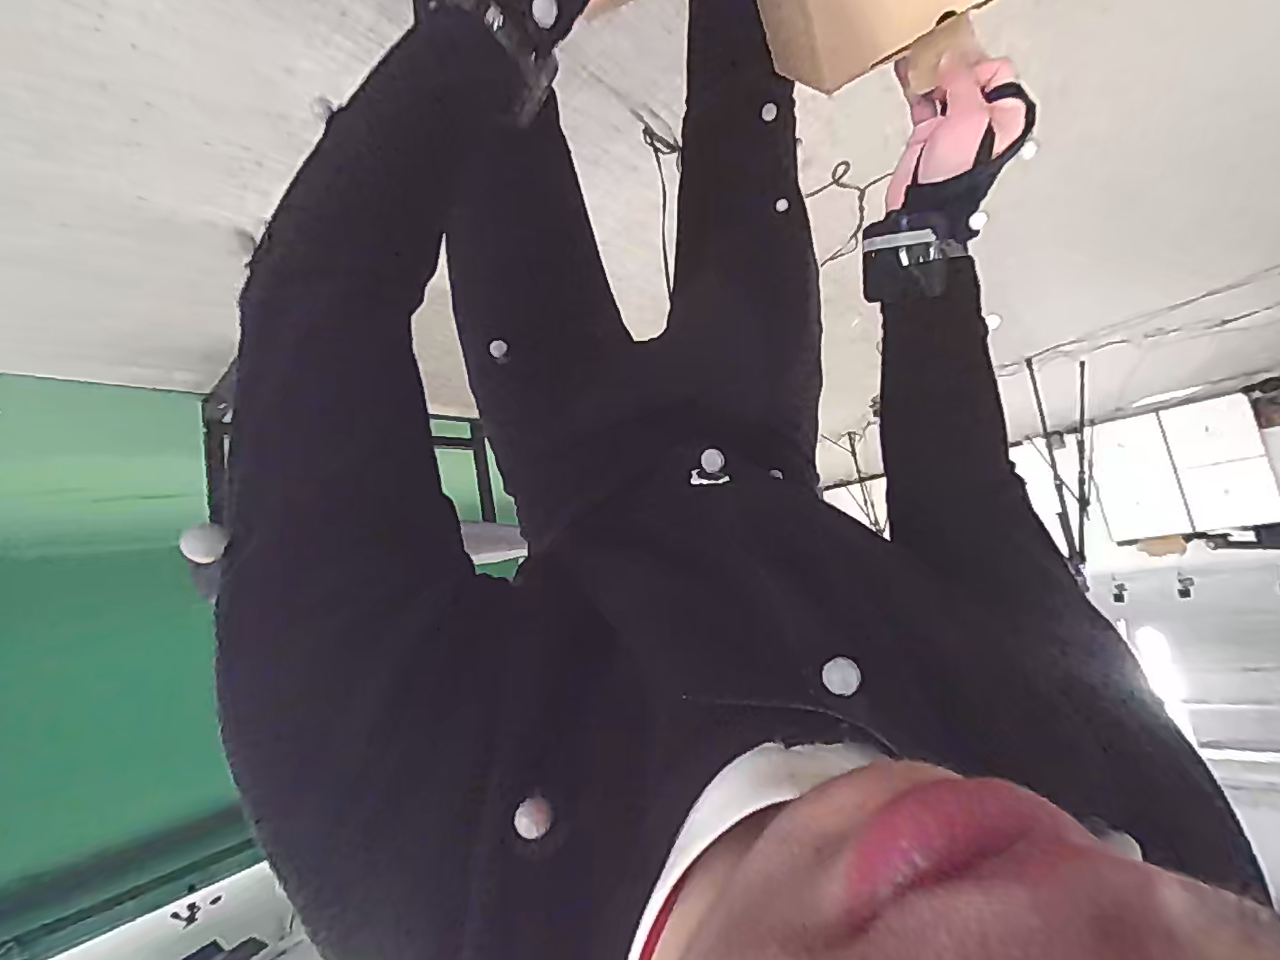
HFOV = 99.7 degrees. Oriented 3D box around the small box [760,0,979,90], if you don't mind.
[{"bbox_3d":[0.165,-0.424,0.381,0.168,0.176,0.179,-23,127,19],"label":"small box"}]
